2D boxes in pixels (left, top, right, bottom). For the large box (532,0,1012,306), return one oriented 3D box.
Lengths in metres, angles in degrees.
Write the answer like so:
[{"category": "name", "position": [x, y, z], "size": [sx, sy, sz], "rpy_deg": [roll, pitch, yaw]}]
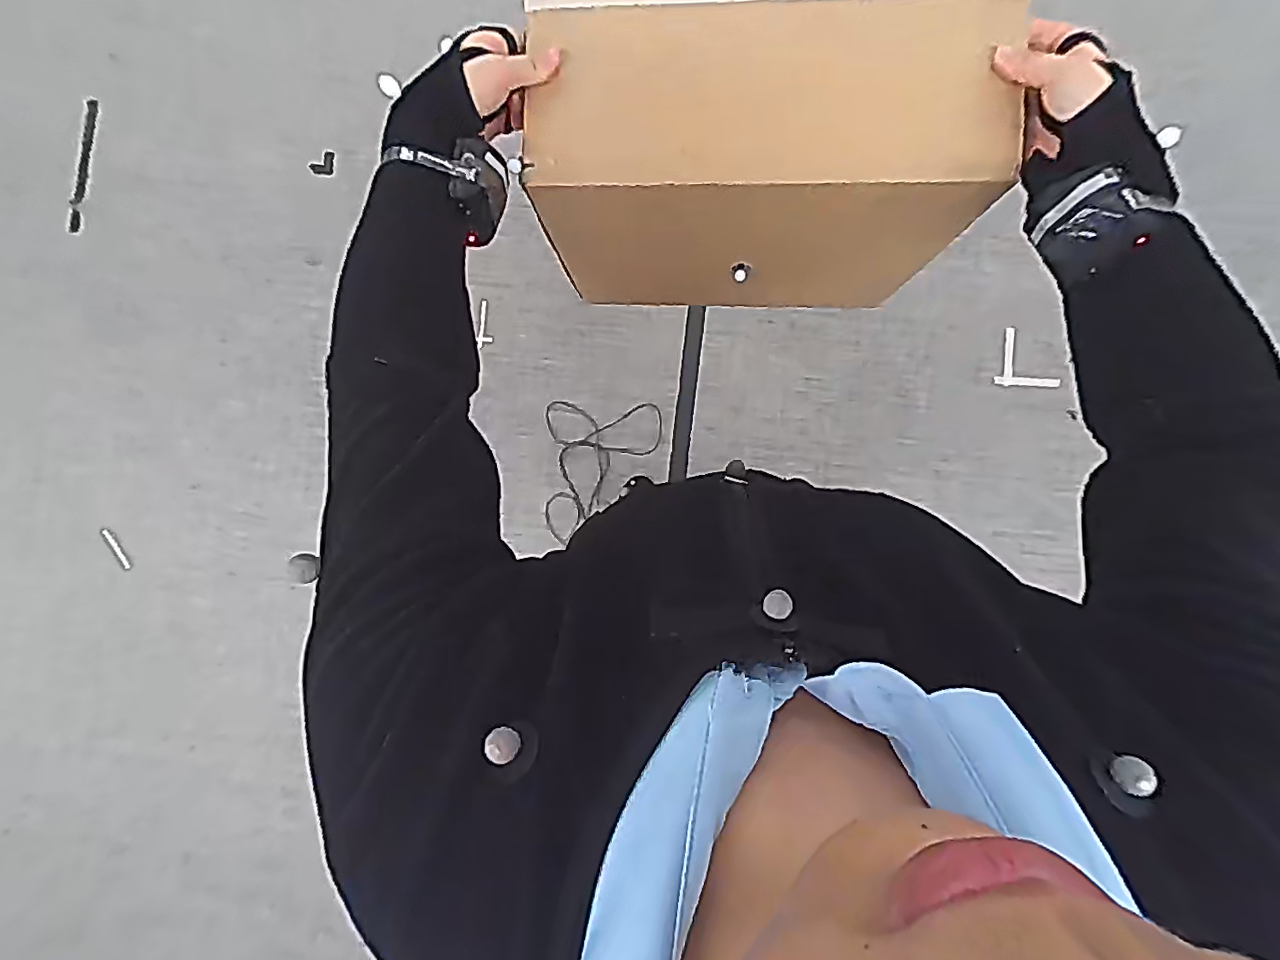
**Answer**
[{"category": "large box", "position": [0.120, -0.396, 0.604], "size": [0.408, 0.320, 0.320], "rpy_deg": [1, 88, 6]}]
